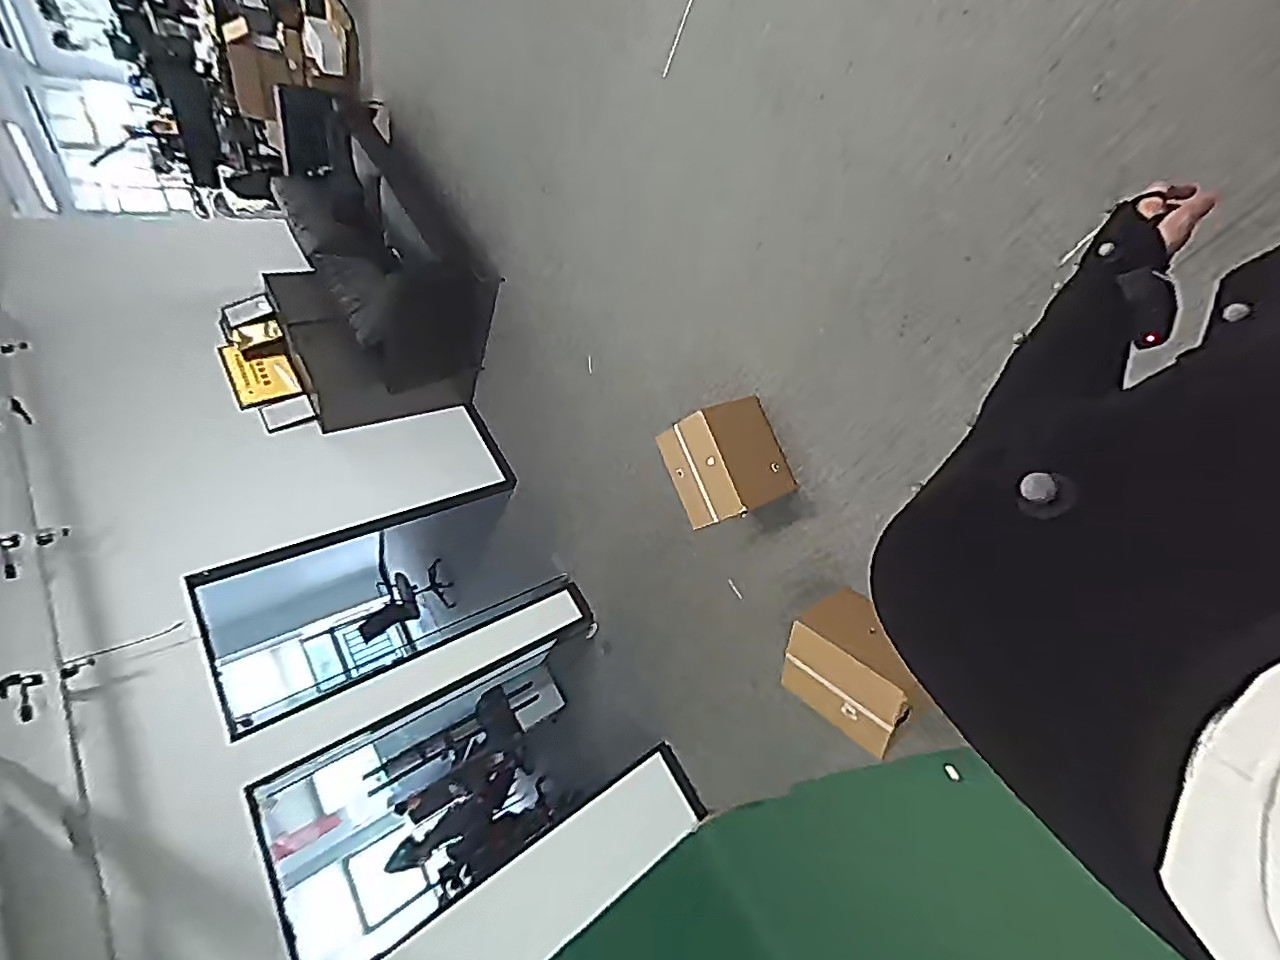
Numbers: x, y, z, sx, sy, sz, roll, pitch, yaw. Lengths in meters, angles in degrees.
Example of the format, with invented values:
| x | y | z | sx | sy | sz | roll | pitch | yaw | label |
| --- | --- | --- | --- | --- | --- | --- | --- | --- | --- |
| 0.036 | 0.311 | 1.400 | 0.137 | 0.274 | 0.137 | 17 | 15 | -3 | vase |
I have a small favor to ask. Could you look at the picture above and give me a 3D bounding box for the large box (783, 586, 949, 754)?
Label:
| x | y | z | sx | sy | sz | roll | pitch | yaw | label |
| --- | --- | --- | --- | --- | --- | --- | --- | --- | --- |
| 0.774 | 0.638 | 1.887 | 0.408 | 0.320 | 0.320 | 29 | 128 | 41 | large box |
